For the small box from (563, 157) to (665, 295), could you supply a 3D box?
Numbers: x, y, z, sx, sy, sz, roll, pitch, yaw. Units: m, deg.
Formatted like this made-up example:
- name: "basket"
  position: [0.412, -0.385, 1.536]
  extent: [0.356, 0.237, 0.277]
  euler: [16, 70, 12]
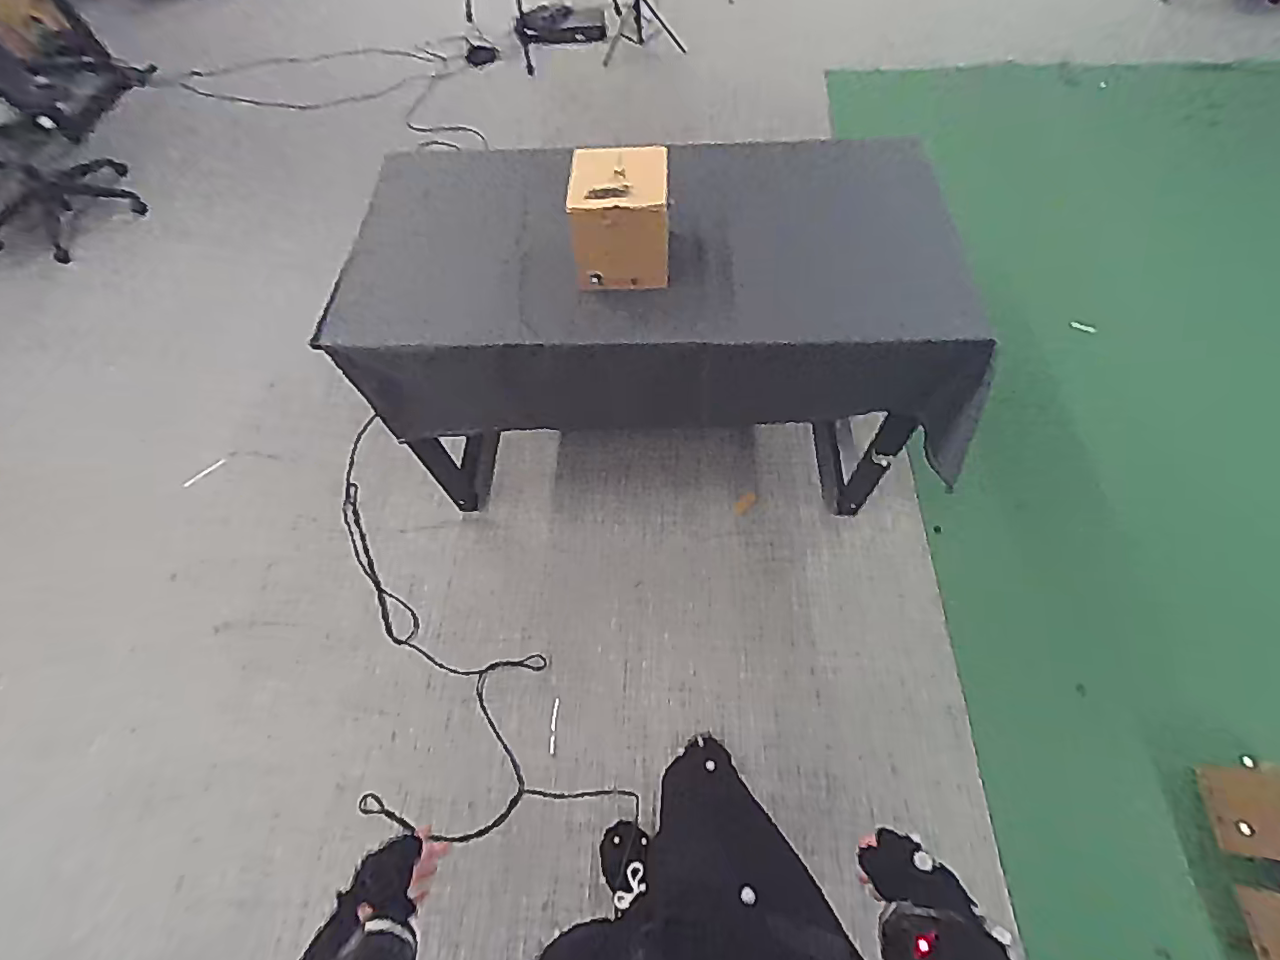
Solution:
- name: "small box"
  position: [-0.039, -0.460, 0.997]
  extent: [0.168, 0.176, 0.179]
  euler: [0, 60, 3]
